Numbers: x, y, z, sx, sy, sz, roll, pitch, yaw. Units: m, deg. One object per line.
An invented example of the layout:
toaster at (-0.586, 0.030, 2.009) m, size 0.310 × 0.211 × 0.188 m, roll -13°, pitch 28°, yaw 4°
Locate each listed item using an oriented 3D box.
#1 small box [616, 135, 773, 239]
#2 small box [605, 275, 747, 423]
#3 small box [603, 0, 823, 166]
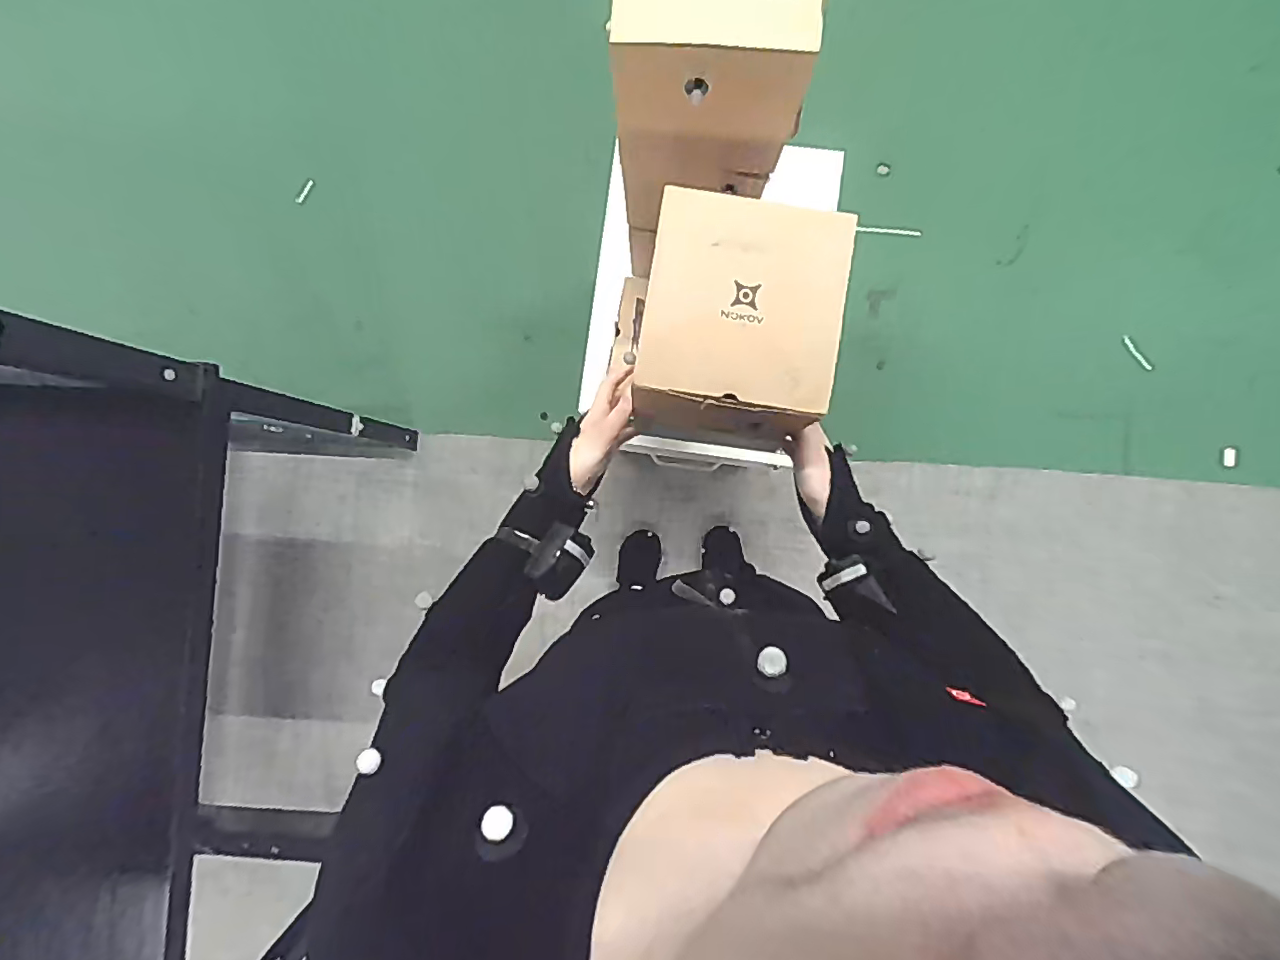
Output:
small box at (0.075, -0.428, 0.677) m, size 0.179 × 0.176 × 0.168 m, roll 11°, pitch 88°, yaw 1°
small box at (0.052, -0.190, 0.830) m, size 0.179 × 0.176 × 0.168 m, roll 10°, pitch 87°, yaw 1°
small box at (0.065, -0.428, 0.513) m, size 0.179 × 0.176 × 0.168 m, roll 4°, pitch 89°, yaw 1°
